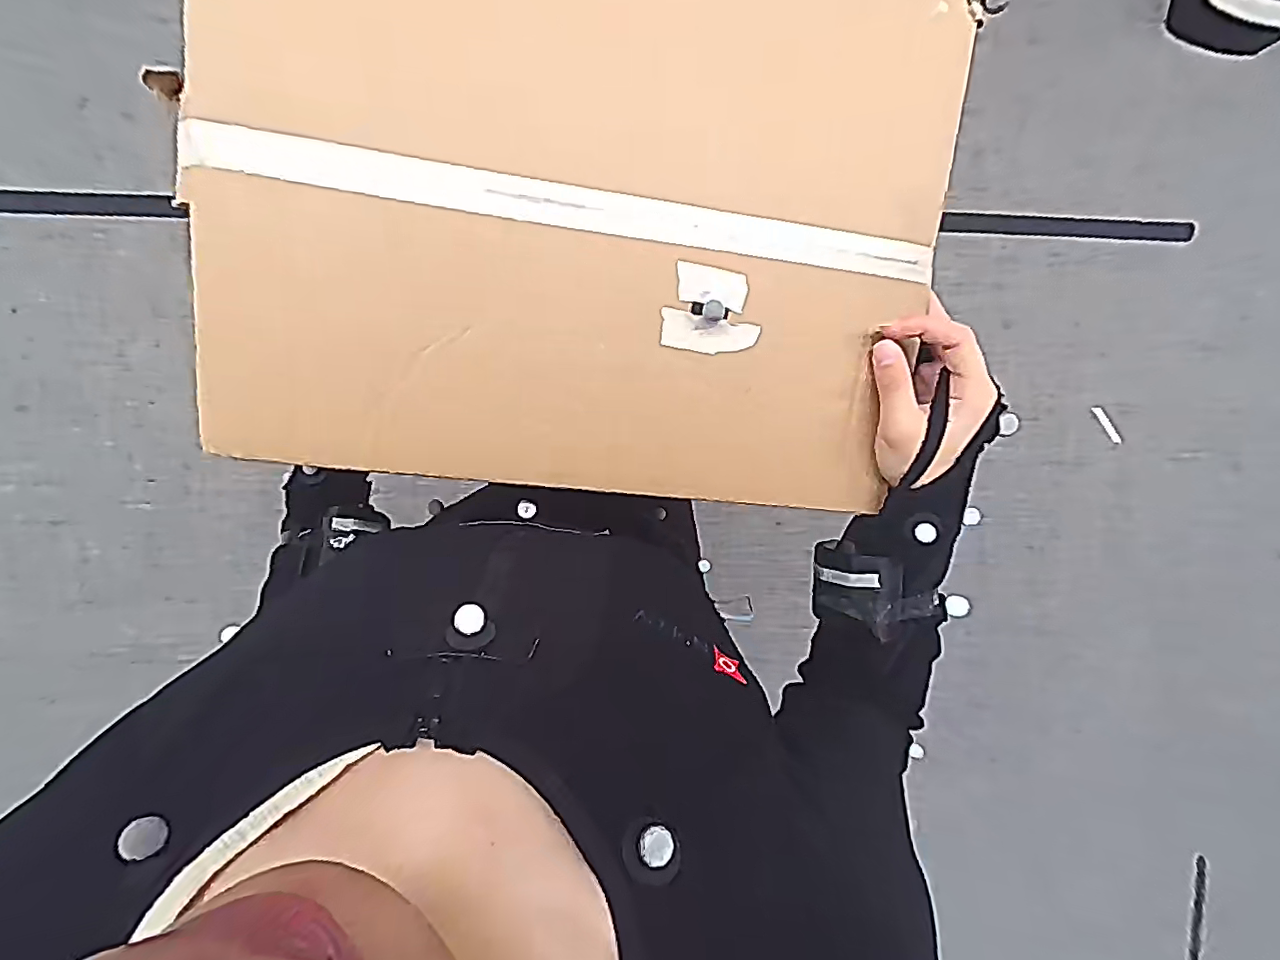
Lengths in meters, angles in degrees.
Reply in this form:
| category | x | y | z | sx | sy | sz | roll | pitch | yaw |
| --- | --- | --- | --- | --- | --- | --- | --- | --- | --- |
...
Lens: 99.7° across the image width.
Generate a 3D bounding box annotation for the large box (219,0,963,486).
| category | x | y | z | sx | sy | sz | roll | pitch | yaw |
| --- | --- | --- | --- | --- | --- | --- | --- | --- | --- |
| large box | -0.043 | -0.185 | 0.452 | 0.408 | 0.320 | 0.320 | 5 | 100 | -11 |
